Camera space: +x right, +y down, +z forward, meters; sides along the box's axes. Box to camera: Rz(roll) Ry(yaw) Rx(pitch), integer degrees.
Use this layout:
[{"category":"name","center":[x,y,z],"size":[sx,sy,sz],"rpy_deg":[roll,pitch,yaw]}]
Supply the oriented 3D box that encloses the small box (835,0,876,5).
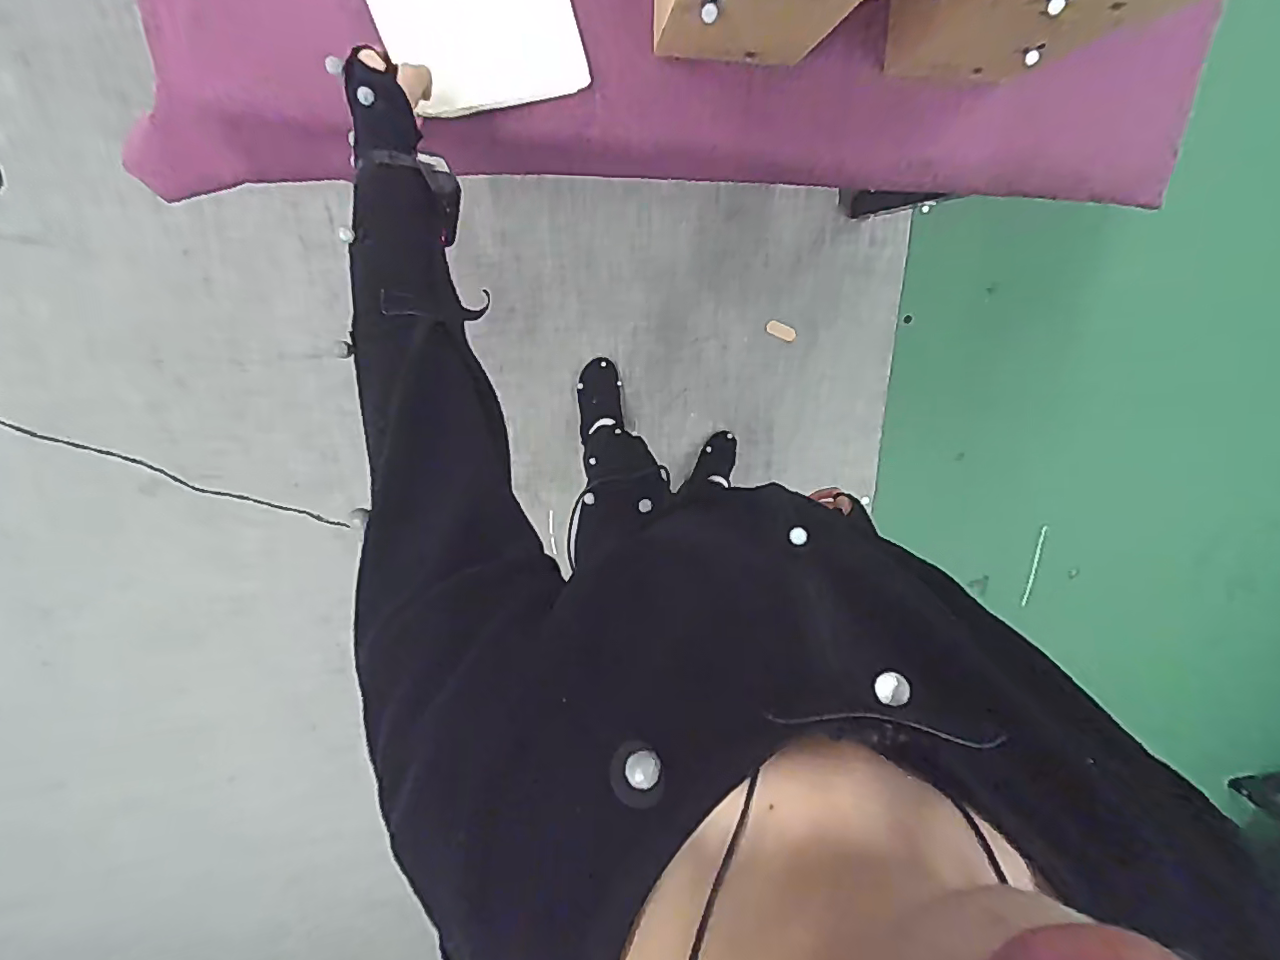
[{"category":"small box","center":[0.140,-0.461,0.356],"size":[0.168,0.176,0.179],"rpy_deg":[-2,107,-9]}]
